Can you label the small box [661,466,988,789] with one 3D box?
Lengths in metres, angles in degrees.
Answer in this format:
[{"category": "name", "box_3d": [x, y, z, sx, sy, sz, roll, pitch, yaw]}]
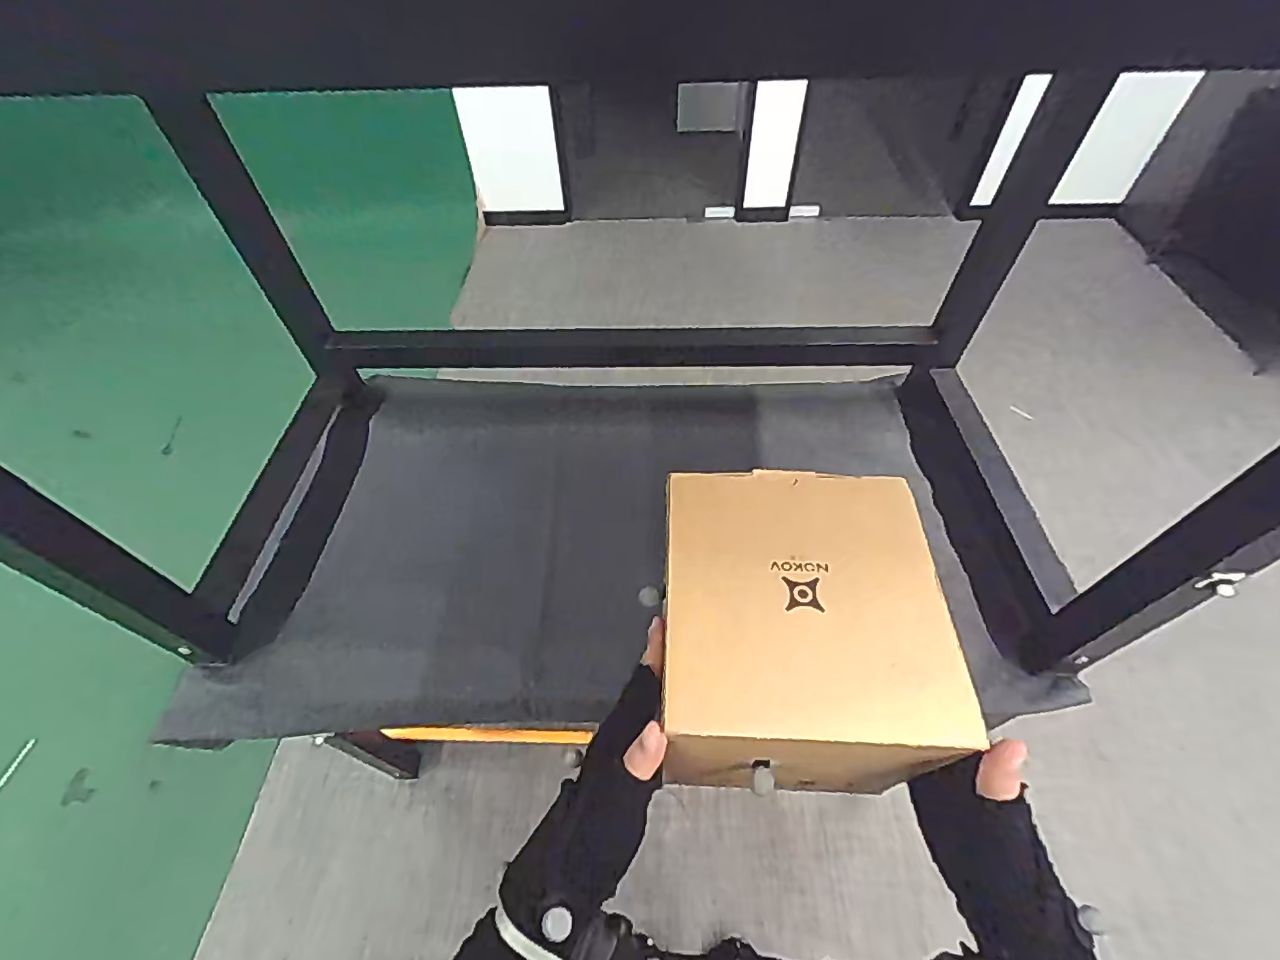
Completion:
[{"category": "small box", "box_3d": [0.101, 0.109, 0.386, 0.168, 0.176, 0.179, 1, 52, 3]}]
